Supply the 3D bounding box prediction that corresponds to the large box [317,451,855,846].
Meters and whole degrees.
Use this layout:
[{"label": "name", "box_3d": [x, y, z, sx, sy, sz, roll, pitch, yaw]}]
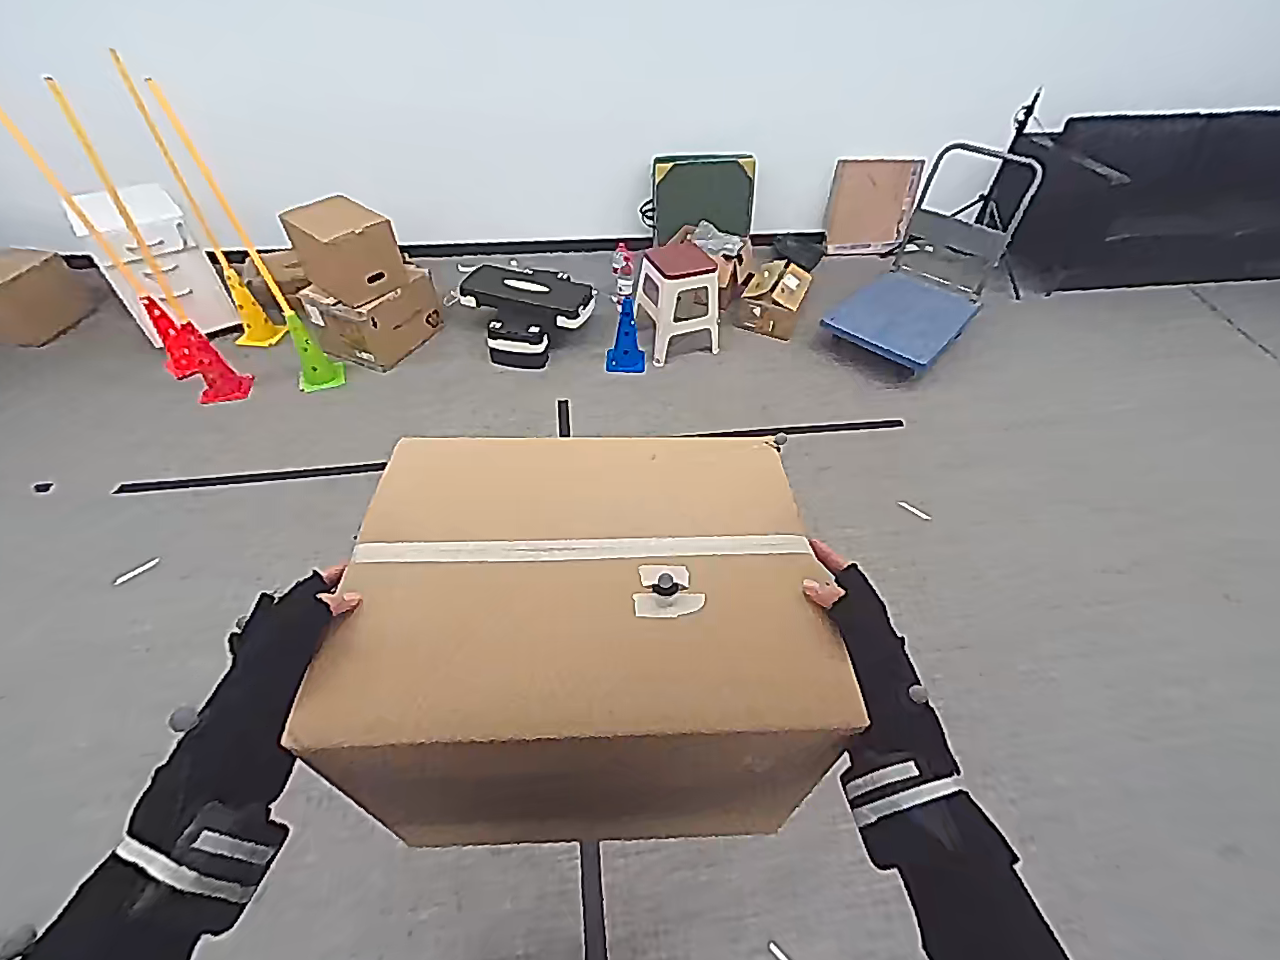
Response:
[{"label": "large box", "box_3d": [-0.048, 0.182, 0.602, 0.408, 0.320, 0.320, 0, 45, -3]}]
